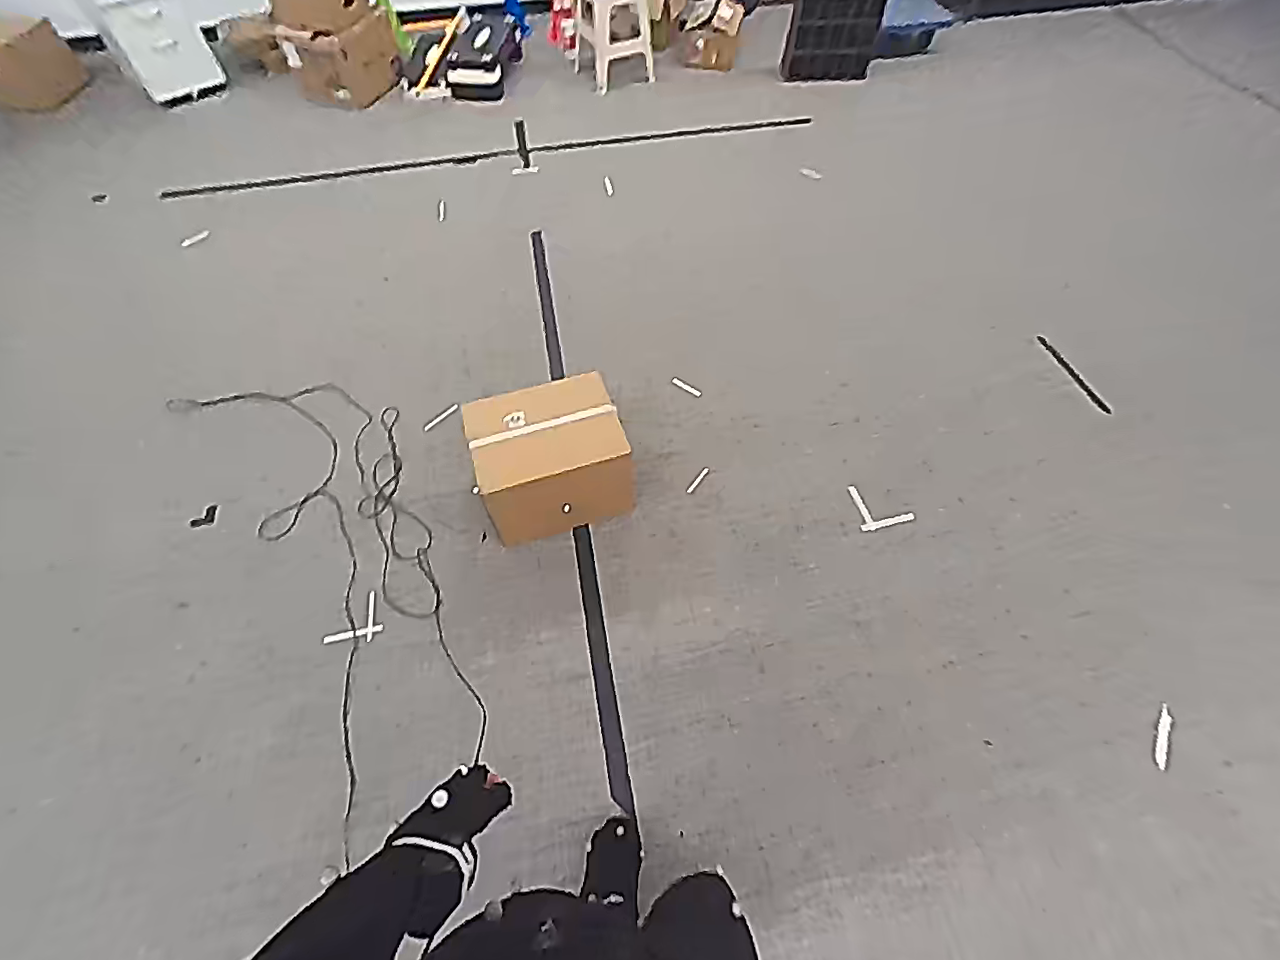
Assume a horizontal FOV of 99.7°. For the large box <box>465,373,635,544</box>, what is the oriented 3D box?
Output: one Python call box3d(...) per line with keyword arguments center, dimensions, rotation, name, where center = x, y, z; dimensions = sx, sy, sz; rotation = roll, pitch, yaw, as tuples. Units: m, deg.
box3d(center=(-0.252, -0.058, 1.594), dimensions=(0.408, 0.320, 0.320), rotation=(-16, 59, -9), name="large box")
